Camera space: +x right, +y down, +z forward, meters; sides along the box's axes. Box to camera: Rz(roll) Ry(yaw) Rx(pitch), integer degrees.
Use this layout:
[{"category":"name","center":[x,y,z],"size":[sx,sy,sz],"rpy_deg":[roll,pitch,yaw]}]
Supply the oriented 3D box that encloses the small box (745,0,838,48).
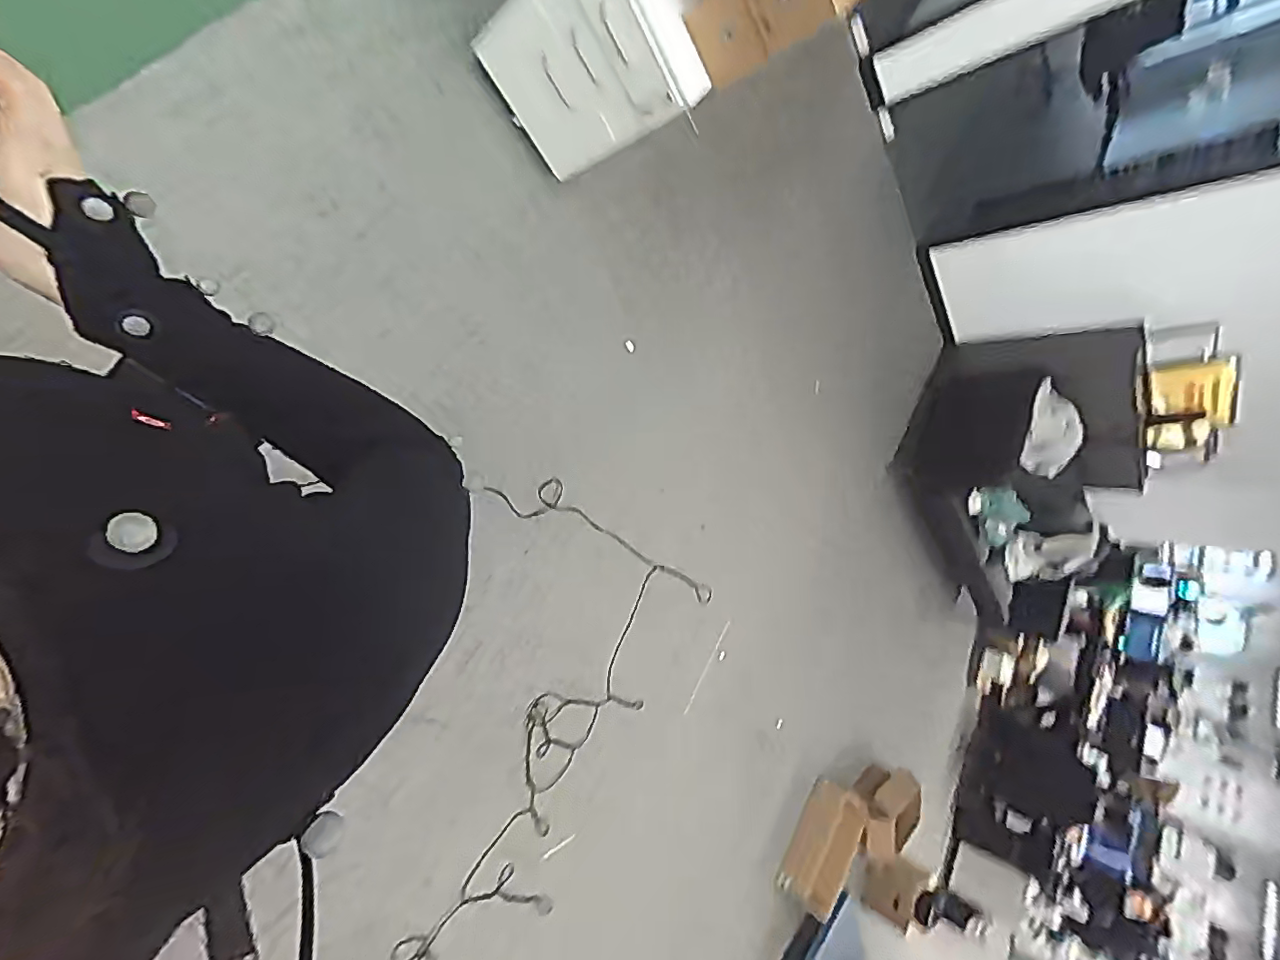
[{"category":"small box","center":[0.327,-1.072,1.144],"size":[0.168,0.176,0.179],"rpy_deg":[50,62,-34]}]
